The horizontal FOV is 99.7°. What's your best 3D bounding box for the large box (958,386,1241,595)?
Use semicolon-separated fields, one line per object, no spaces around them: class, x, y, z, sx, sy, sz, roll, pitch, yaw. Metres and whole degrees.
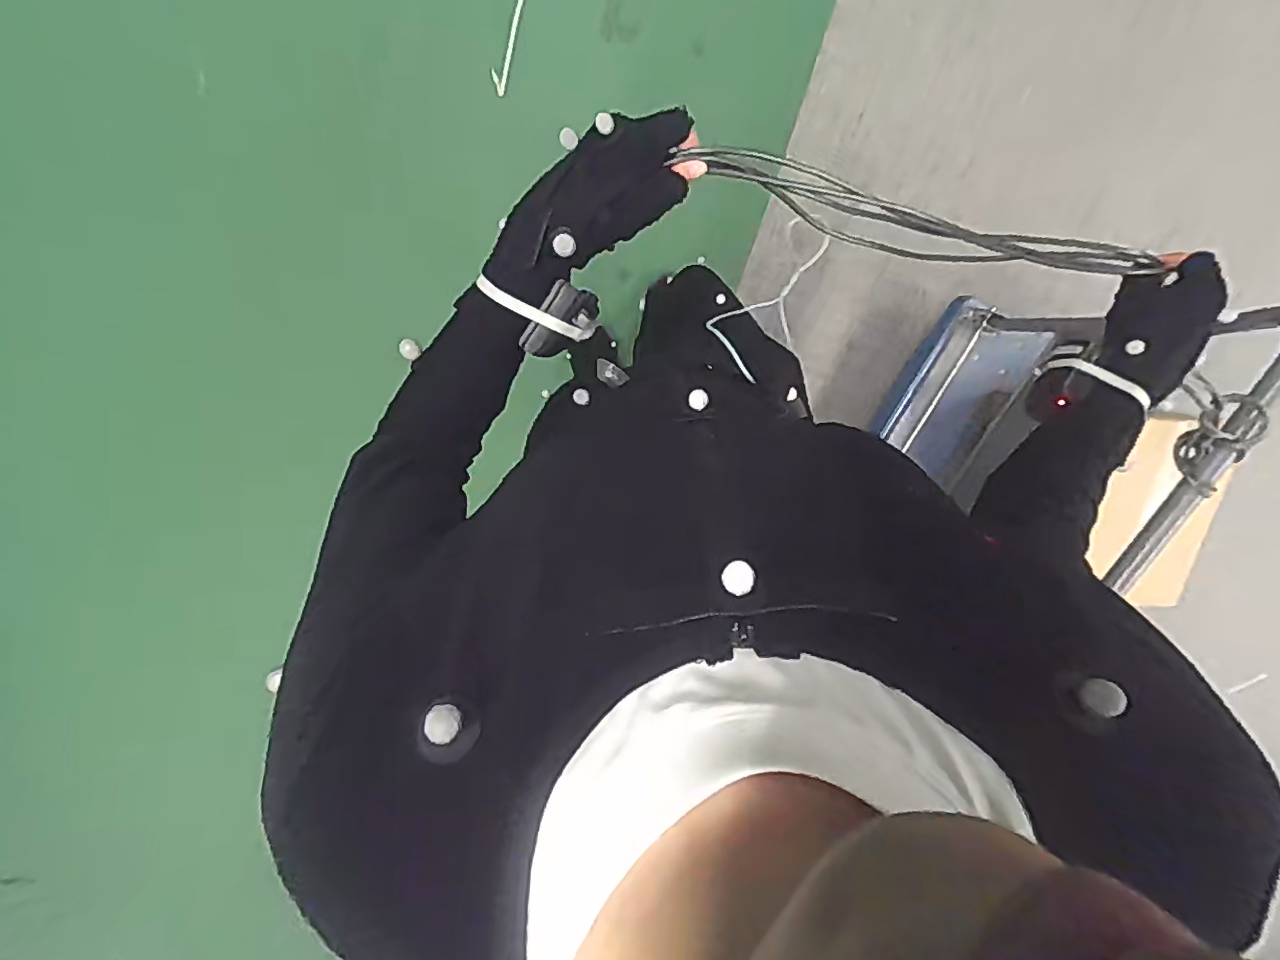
large box;1.006;0.012;1.245;0.320;0.320;0.408;3;107;-5
